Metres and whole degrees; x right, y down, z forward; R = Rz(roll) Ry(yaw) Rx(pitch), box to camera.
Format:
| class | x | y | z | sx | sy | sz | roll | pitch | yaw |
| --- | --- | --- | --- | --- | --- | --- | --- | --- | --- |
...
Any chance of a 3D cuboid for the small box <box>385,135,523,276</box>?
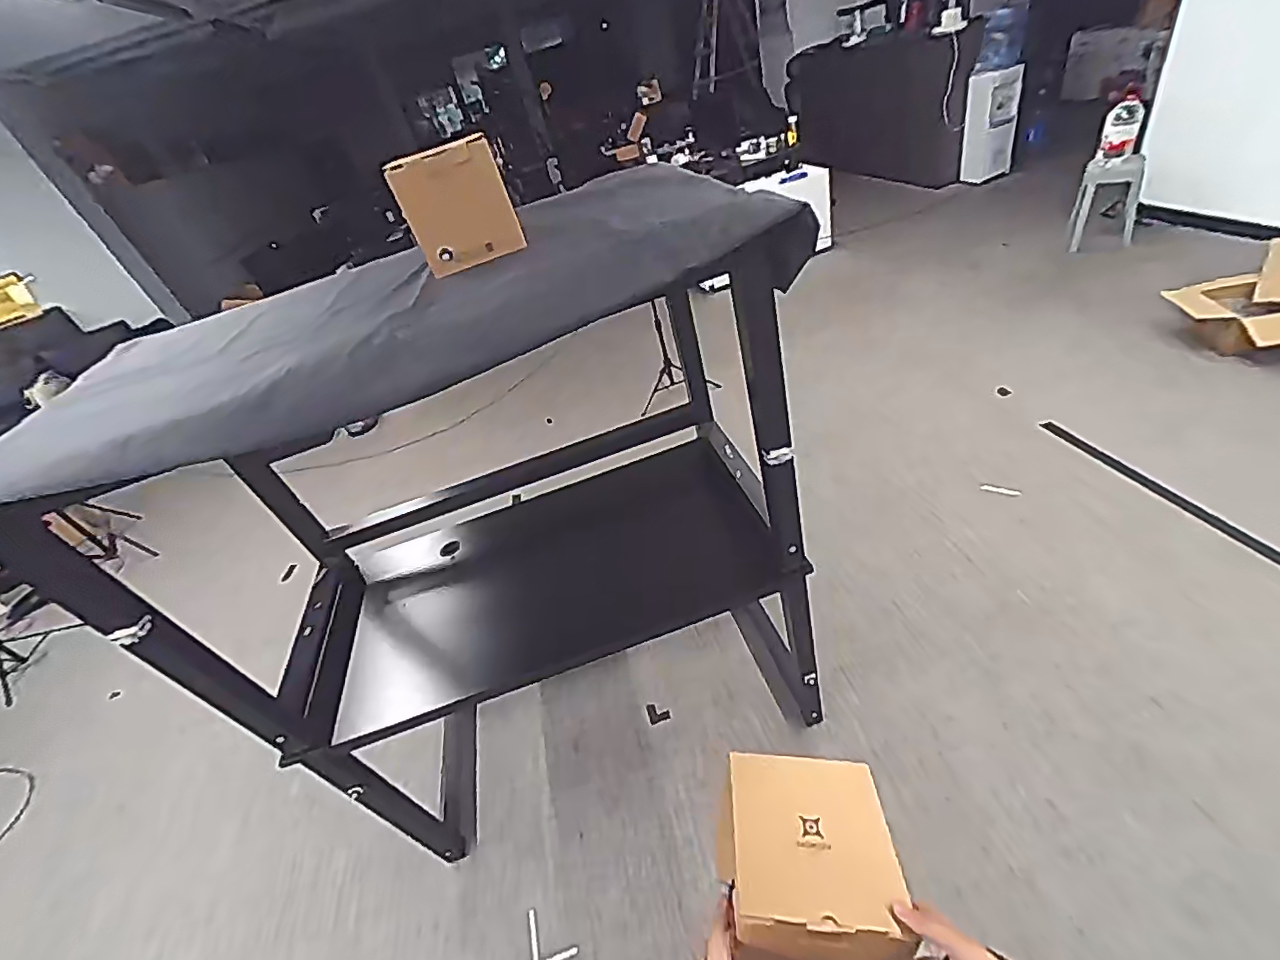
| class | x | y | z | sx | sy | sz | roll | pitch | yaw |
| --- | --- | --- | --- | --- | --- | --- | --- | --- | --- |
| small box | -0.314 | -0.473 | 0.937 | 0.168 | 0.176 | 0.179 | -21 | 37 | -4 |

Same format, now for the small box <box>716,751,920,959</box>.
| class | x | y | z | sx | sy | sz | roll | pitch | yaw |
| --- | --- | --- | --- | --- | --- | --- | --- | --- | --- |
| small box | 0.176 | 0.440 | 0.601 | 0.168 | 0.176 | 0.179 | 4 | 27 | 4 |
